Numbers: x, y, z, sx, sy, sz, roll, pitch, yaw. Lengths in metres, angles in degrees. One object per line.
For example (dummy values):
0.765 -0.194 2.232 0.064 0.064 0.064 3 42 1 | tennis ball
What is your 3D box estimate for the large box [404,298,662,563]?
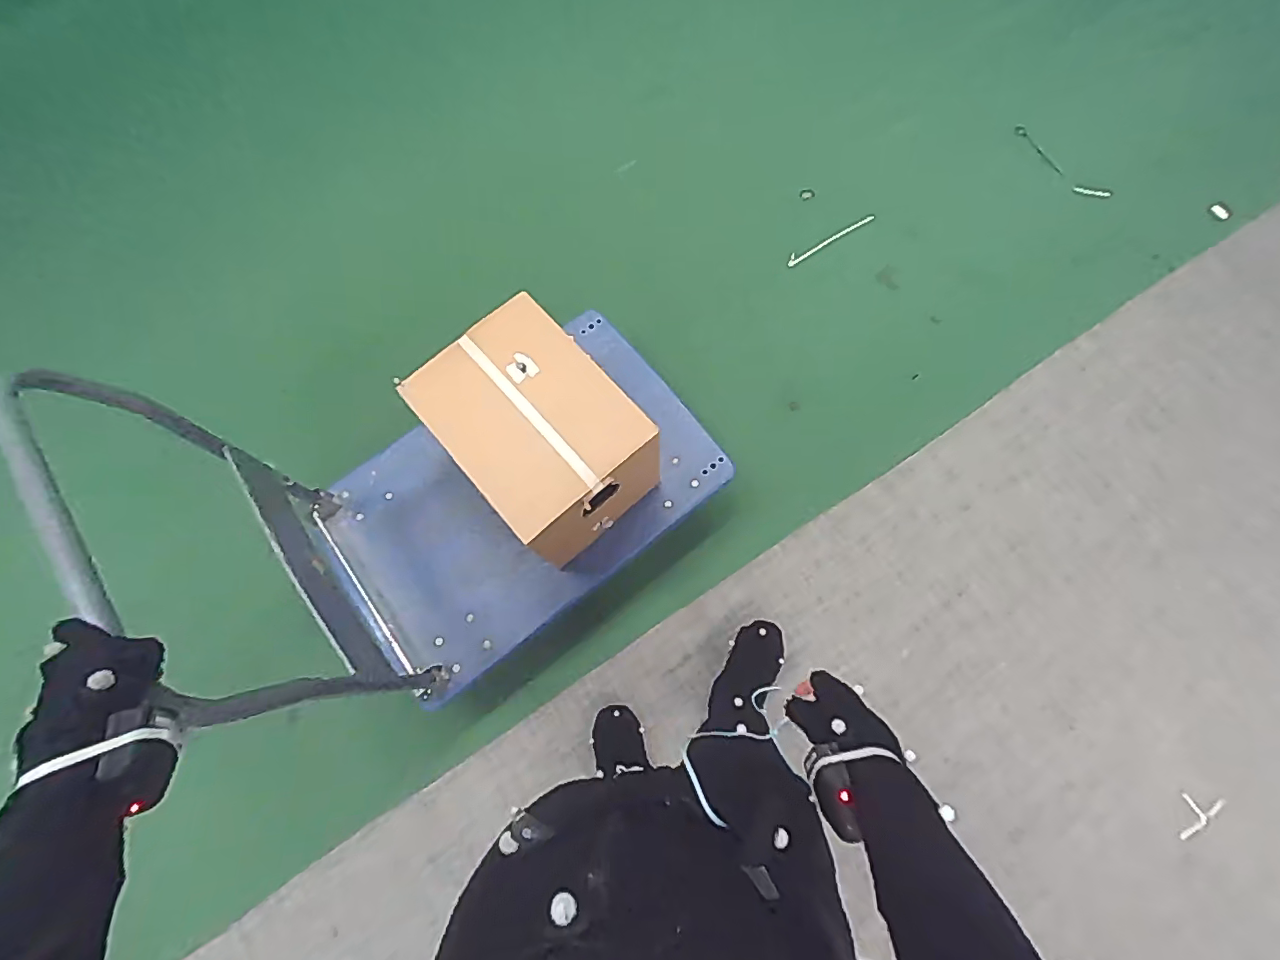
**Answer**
-0.198 -0.087 1.146 0.320 0.320 0.408 -41 75 -10 | large box
